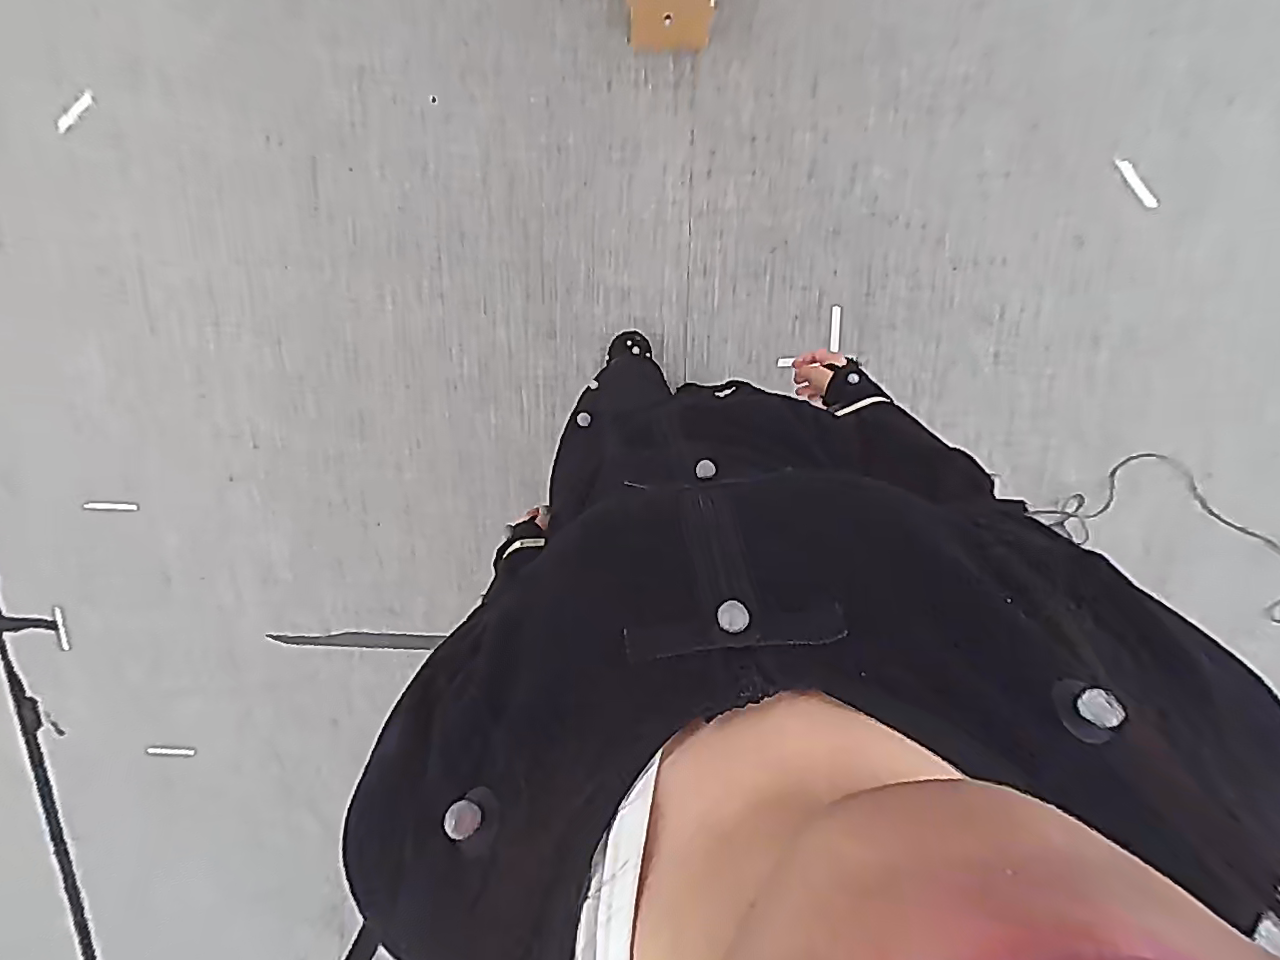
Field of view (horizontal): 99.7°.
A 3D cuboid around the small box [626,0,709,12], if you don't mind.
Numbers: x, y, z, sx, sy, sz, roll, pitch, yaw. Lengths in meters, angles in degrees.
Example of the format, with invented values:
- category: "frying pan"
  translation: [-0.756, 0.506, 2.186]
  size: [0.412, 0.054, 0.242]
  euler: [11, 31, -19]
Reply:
- category: "small box"
  translation: [0.056, -1.033, 1.025]
  size: [0.179, 0.176, 0.168]
  euler: [4, 103, 1]

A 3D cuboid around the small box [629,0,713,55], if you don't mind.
- category: "small box"
  translation: [0.067, -1.070, 1.184]
  size: [0.179, 0.176, 0.168]
  euler: [1, 102, 1]
